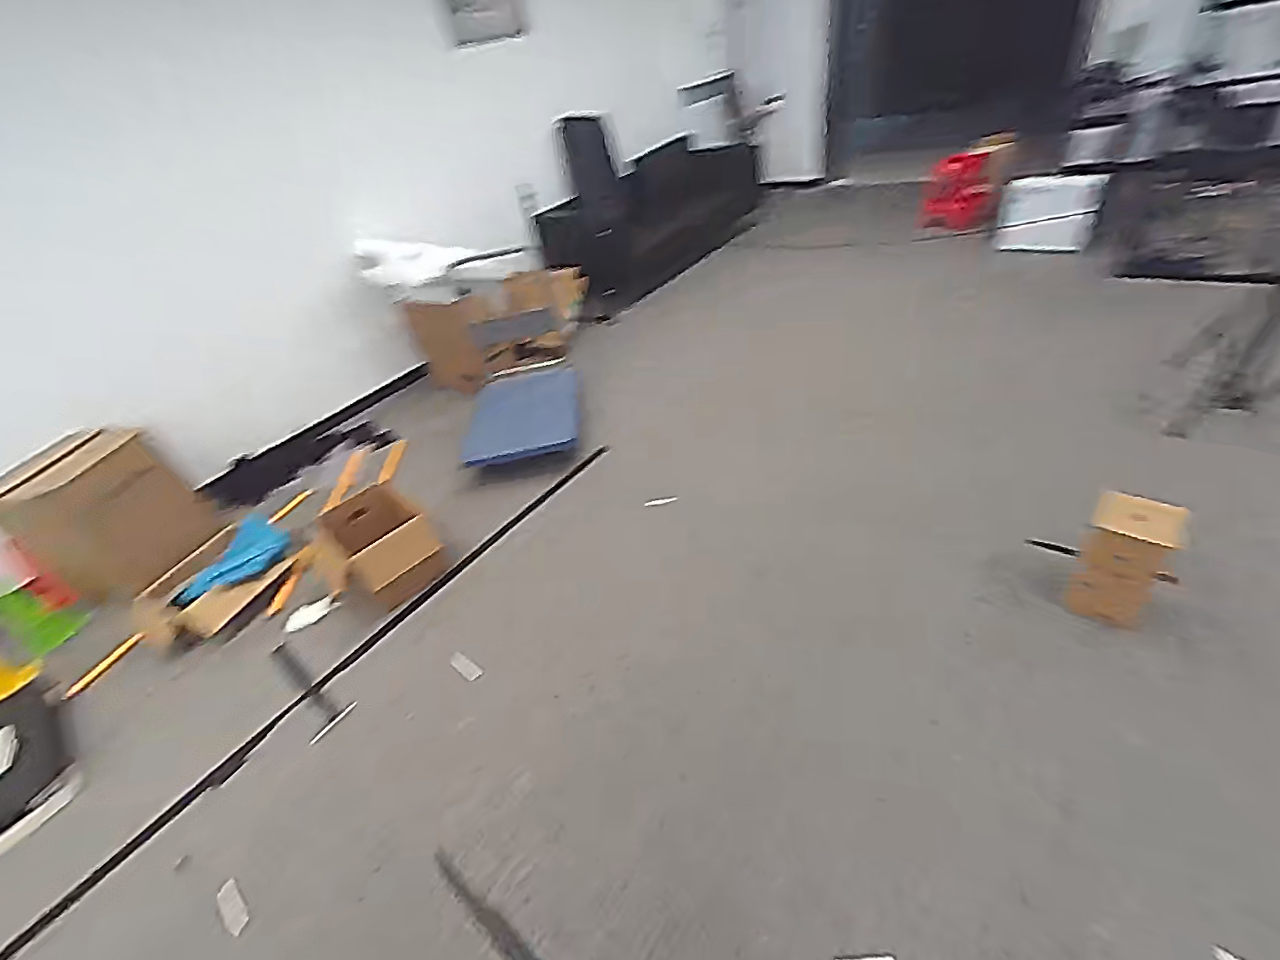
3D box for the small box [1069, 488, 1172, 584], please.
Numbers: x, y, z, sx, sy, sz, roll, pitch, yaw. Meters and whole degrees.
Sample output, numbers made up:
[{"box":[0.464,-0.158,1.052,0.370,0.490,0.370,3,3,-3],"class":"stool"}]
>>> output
[{"box":[1.328,0.157,1.502,0.168,0.176,0.179,23,49,38],"class":"small box"}]
